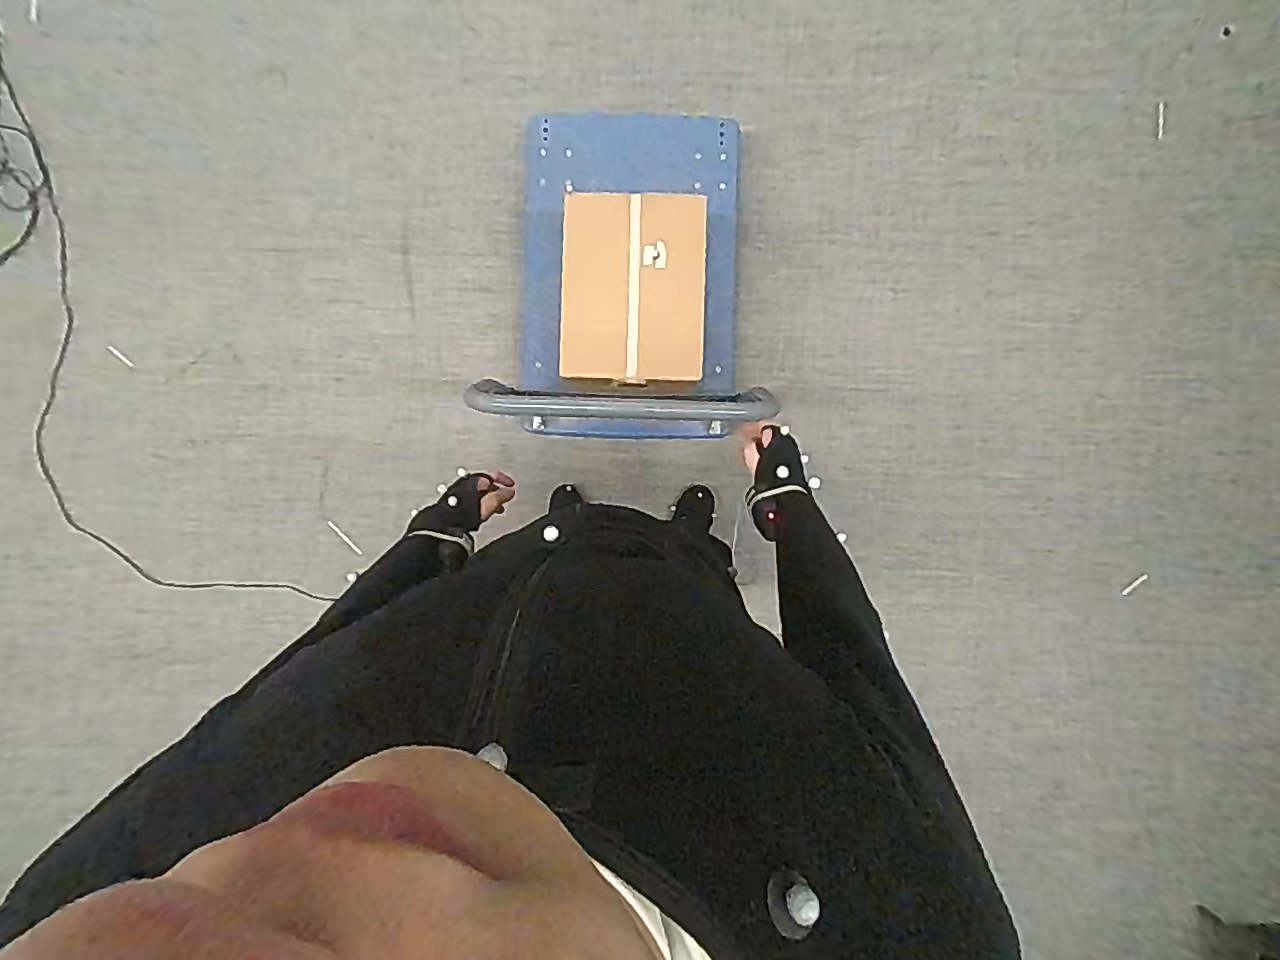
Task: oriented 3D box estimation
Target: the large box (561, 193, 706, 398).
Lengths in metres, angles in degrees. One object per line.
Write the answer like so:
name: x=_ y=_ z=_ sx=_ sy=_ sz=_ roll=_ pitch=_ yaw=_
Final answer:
large box: x=-0.012 y=-0.421 z=1.324 sx=0.320 sy=0.320 sz=0.408 roll=2 pitch=90 yaw=-1
